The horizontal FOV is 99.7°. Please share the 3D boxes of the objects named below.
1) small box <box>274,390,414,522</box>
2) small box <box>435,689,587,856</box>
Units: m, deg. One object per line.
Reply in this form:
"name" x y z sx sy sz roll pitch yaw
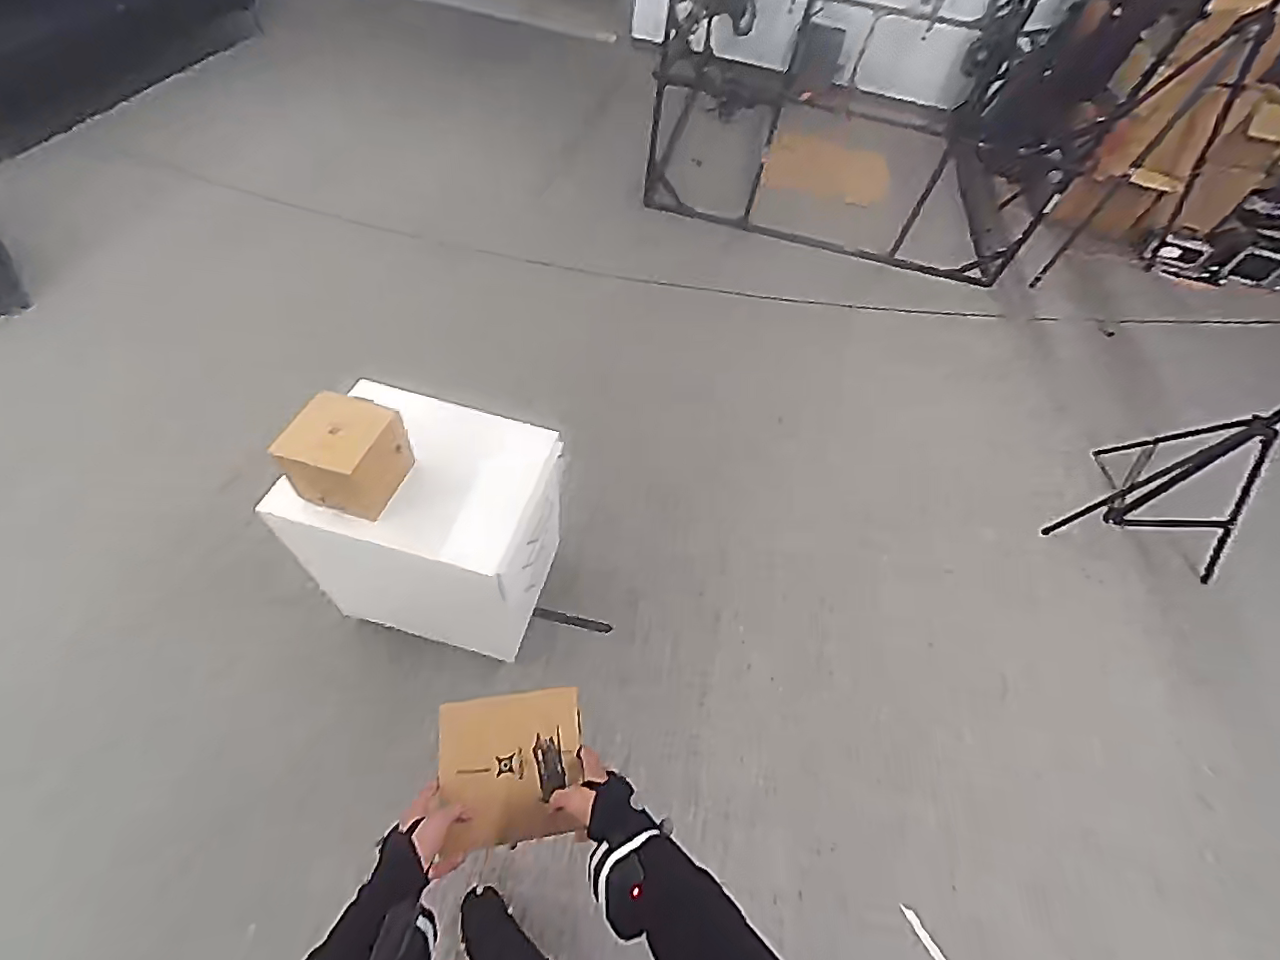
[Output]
"small box" -0.577 -0.046 1.088 0.168 0.176 0.179 16 53 3
"small box" -0.171 0.384 0.733 0.179 0.176 0.168 -4 65 -11
